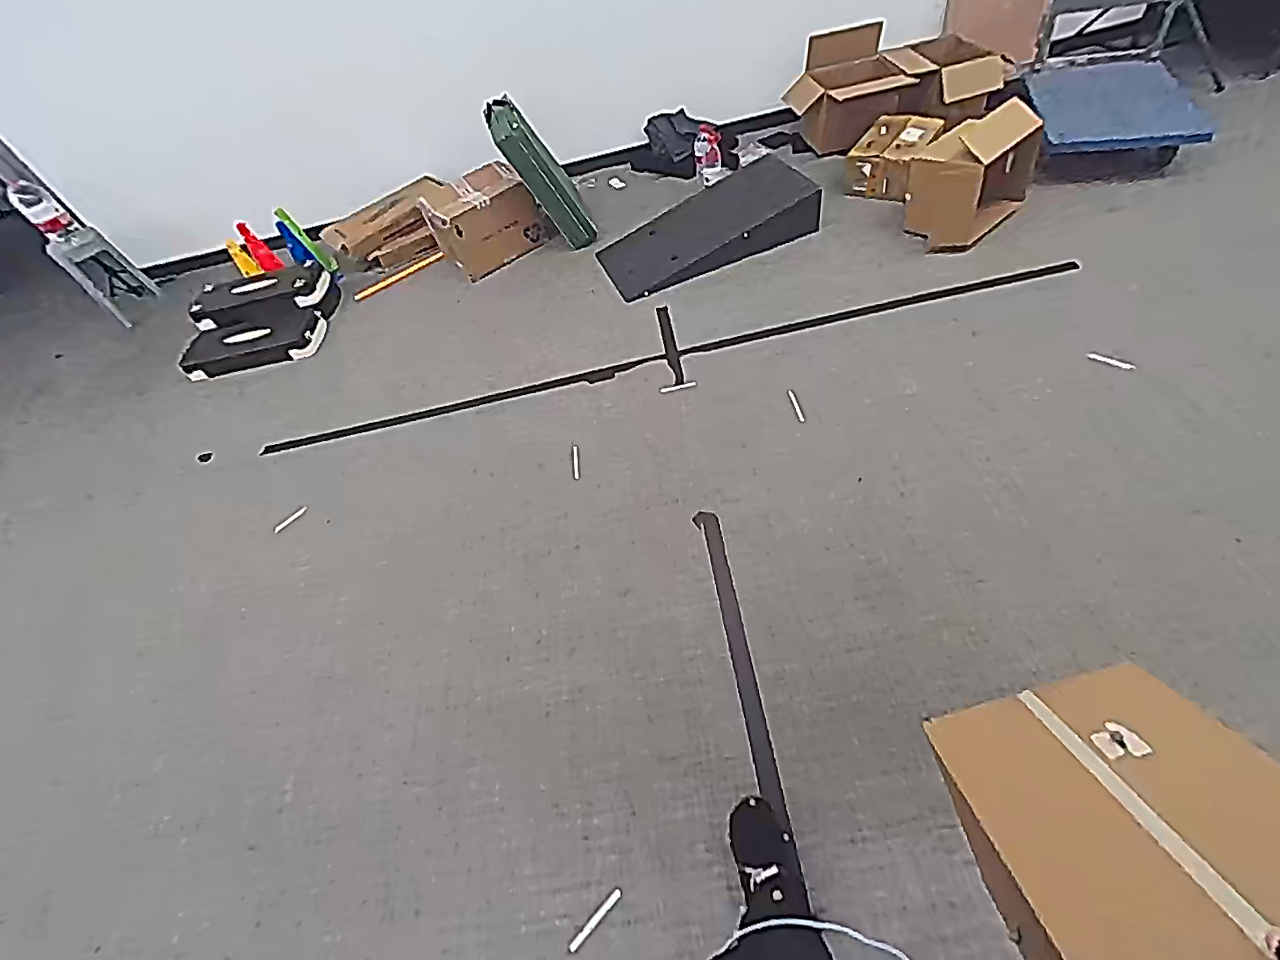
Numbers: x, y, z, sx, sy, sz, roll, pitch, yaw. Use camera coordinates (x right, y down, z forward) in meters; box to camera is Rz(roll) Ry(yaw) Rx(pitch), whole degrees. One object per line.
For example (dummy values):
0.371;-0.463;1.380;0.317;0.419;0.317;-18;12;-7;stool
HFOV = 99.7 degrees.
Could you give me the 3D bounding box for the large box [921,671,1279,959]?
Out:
0.626;0.512;0.664;0.320;0.320;0.408;-21;7;10;large box
